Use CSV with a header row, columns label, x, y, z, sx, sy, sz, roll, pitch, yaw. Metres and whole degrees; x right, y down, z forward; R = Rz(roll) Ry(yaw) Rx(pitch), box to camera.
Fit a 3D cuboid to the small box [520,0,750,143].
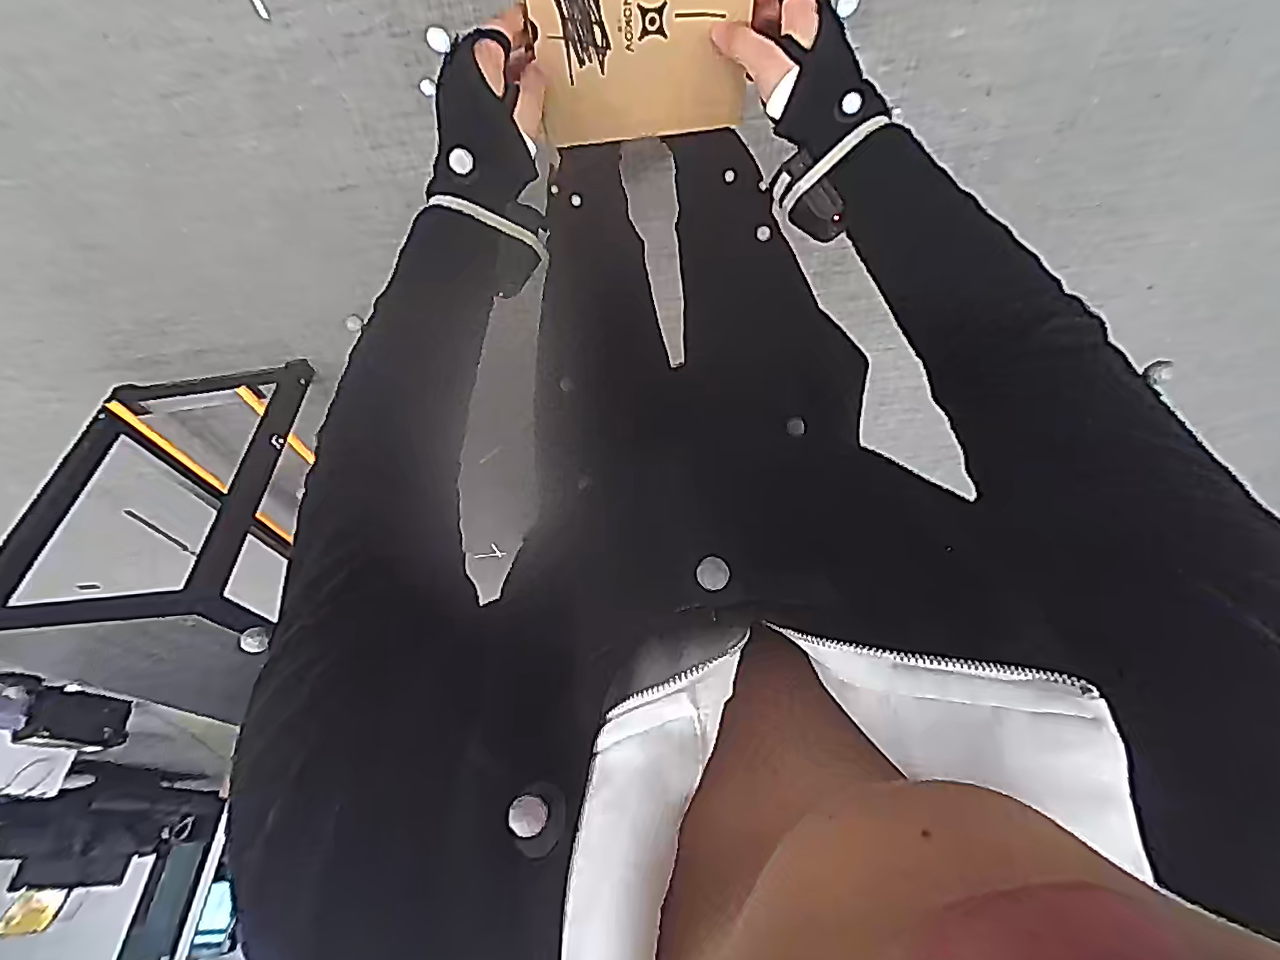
label,x,y,z,sx,sy,sz,roll,pitch,yaw
small box,-0.012,-0.419,0.458,0.179,0.176,0.168,-9,147,-3
